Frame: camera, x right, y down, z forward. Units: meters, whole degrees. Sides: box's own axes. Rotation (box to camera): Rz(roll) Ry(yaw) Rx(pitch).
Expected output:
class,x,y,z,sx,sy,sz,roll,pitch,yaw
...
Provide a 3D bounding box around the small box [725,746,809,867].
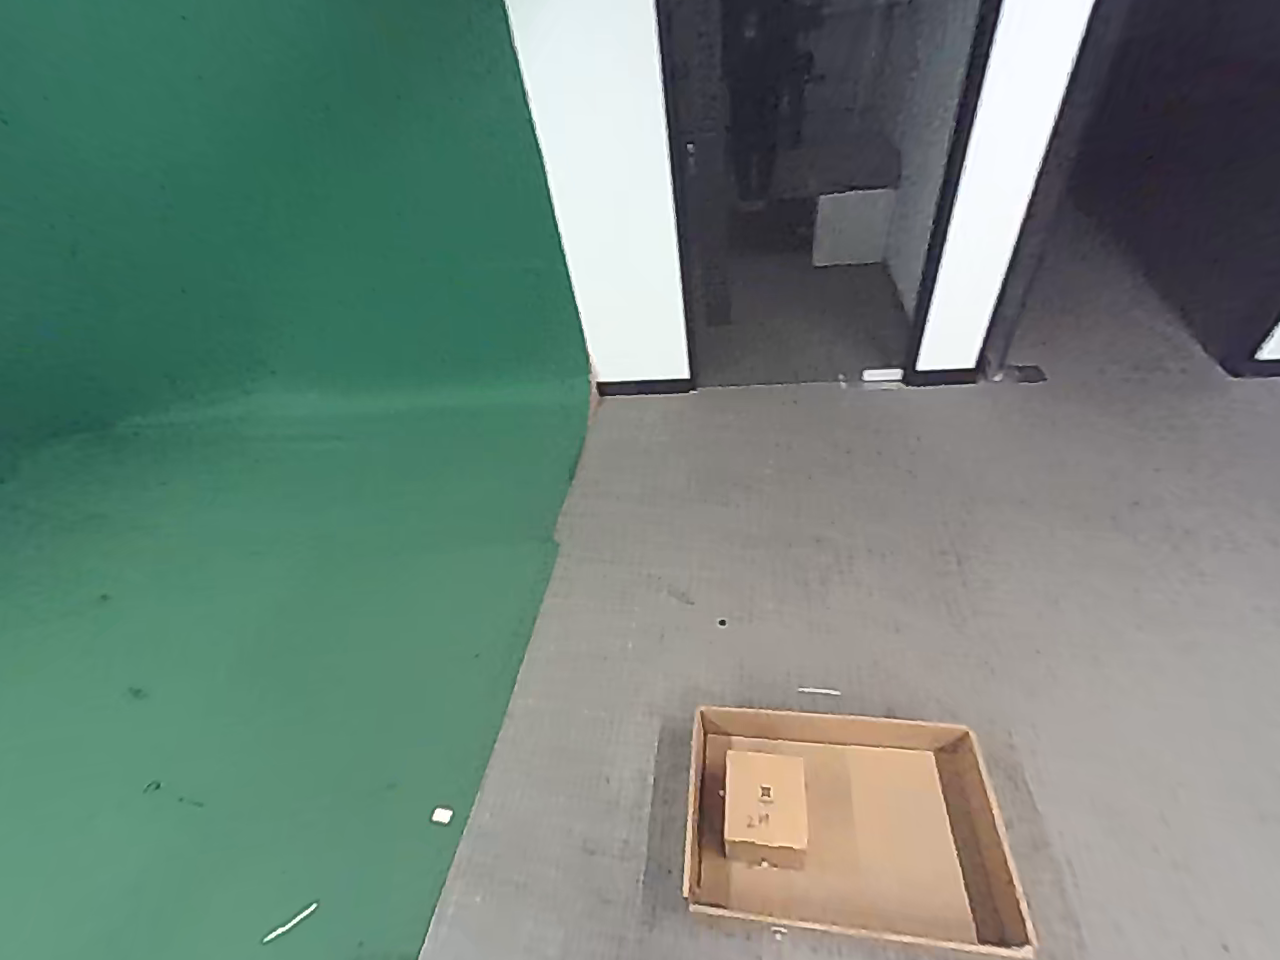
class,x,y,z,sx,sy,sz,roll,pitch,yaw
small box,0.273,0.711,1.179,0.168,0.176,0.179,1,44,12
